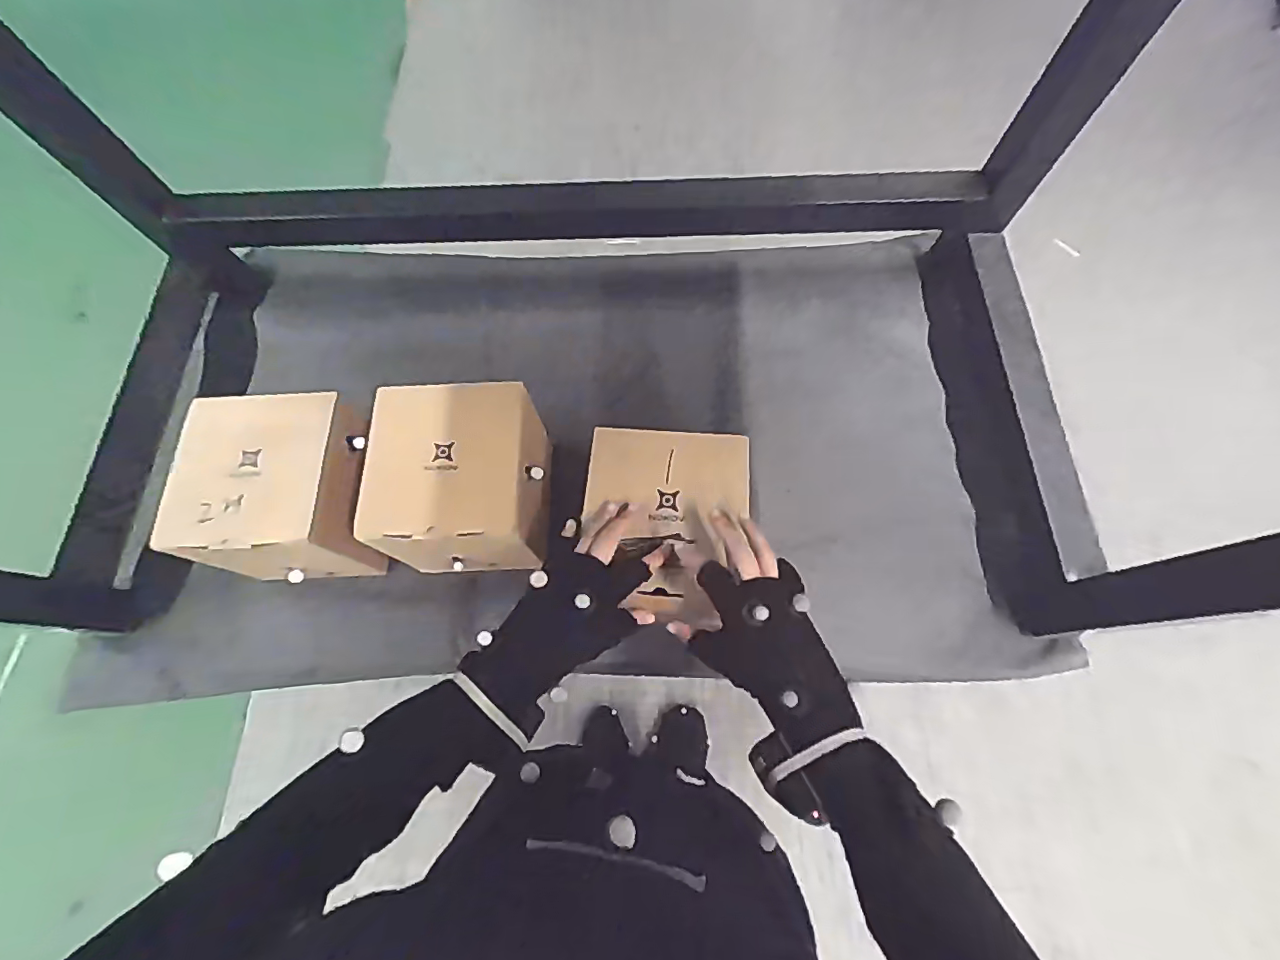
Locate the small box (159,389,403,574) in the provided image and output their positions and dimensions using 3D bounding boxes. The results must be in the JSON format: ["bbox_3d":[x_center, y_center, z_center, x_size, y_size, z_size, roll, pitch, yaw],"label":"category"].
[{"bbox_3d":[-0.407,0.009,0.651,0.168,0.176,0.179,-2,69,1],"label":"small box"}]

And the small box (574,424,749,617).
[{"bbox_3d":[0.029,0.055,0.617,0.168,0.176,0.179,4,68,4],"label":"small box"}]
